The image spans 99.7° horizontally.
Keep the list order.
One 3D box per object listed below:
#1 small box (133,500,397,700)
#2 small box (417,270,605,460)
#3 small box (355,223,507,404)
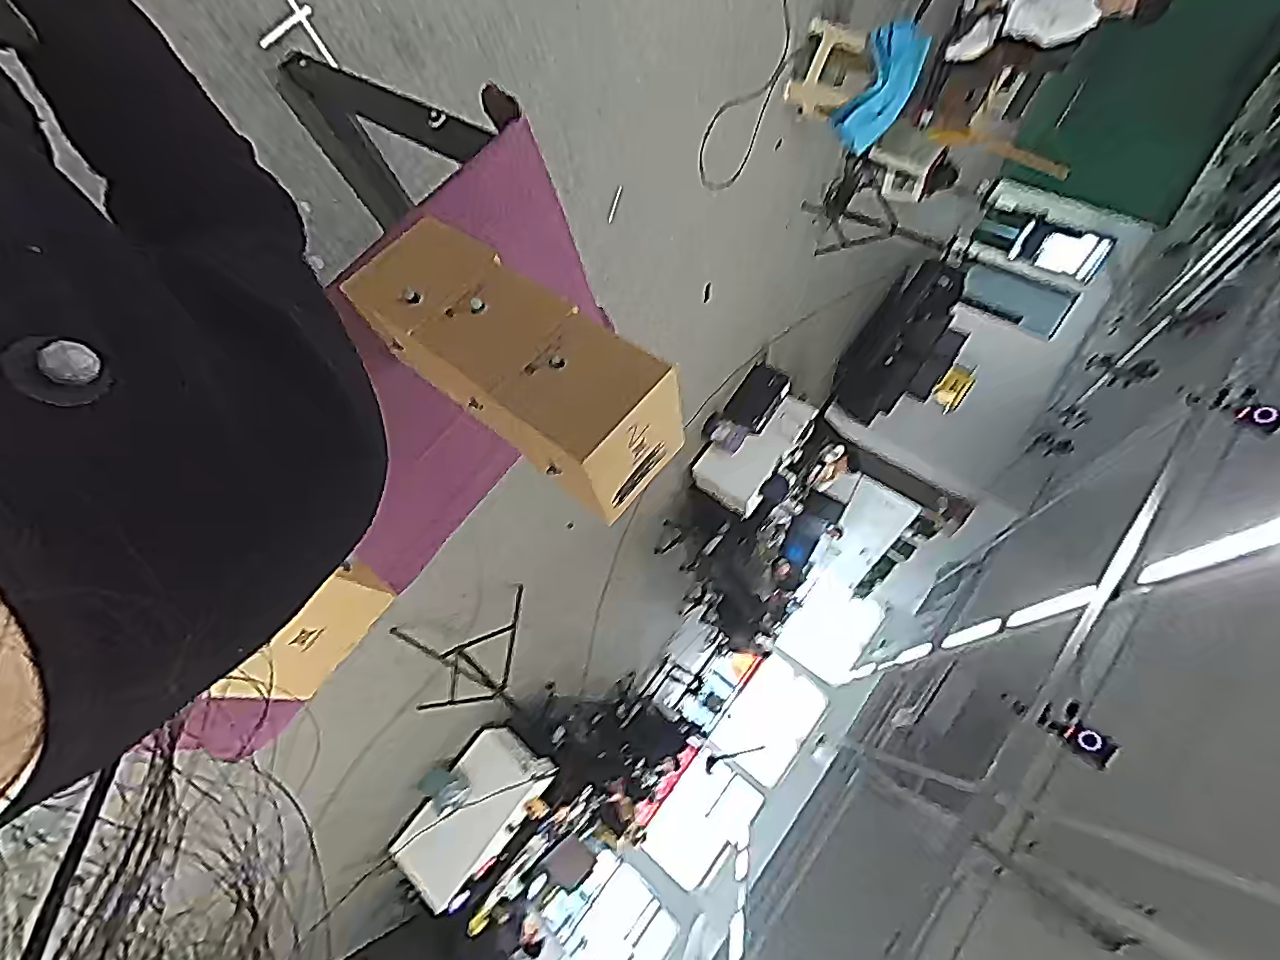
[{"bbox_3d":[-0.455,0.146,0.670,0.168,0.176,0.179,-52,158,-12],"label":"small box"},{"bbox_3d":[-0.180,-0.167,0.786,0.168,0.176,0.179,-49,156,-15],"label":"small box"},{"bbox_3d":[-0.305,-0.259,0.841,0.179,0.176,0.168,-49,157,-16],"label":"small box"}]
